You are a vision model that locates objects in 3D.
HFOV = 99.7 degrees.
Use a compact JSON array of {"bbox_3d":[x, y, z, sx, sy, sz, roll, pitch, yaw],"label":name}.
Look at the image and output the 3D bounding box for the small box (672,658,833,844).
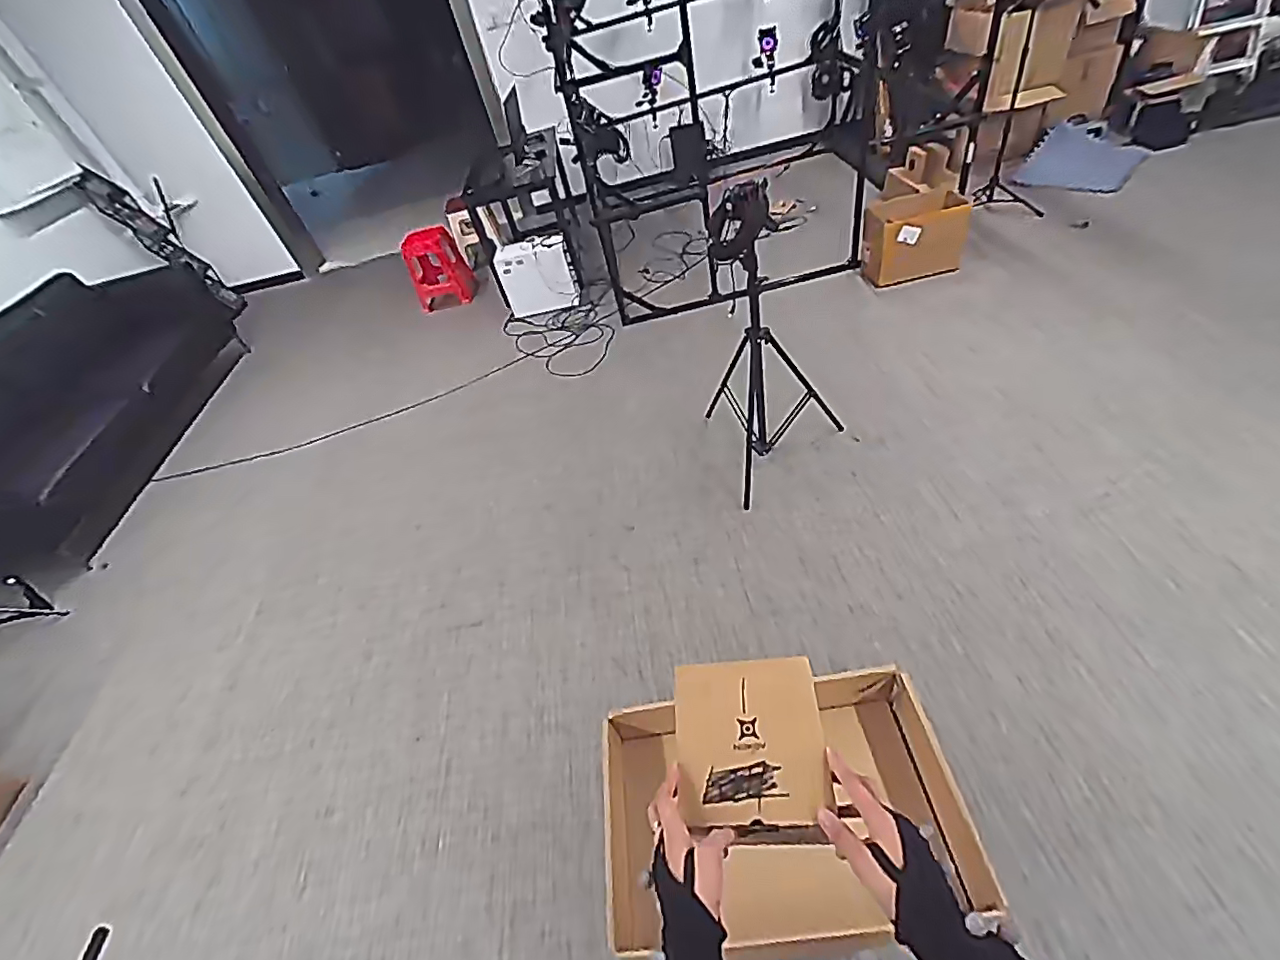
[{"bbox_3d":[0.136,0.338,0.665,0.168,0.176,0.179,-8,50,10],"label":"small box"}]
